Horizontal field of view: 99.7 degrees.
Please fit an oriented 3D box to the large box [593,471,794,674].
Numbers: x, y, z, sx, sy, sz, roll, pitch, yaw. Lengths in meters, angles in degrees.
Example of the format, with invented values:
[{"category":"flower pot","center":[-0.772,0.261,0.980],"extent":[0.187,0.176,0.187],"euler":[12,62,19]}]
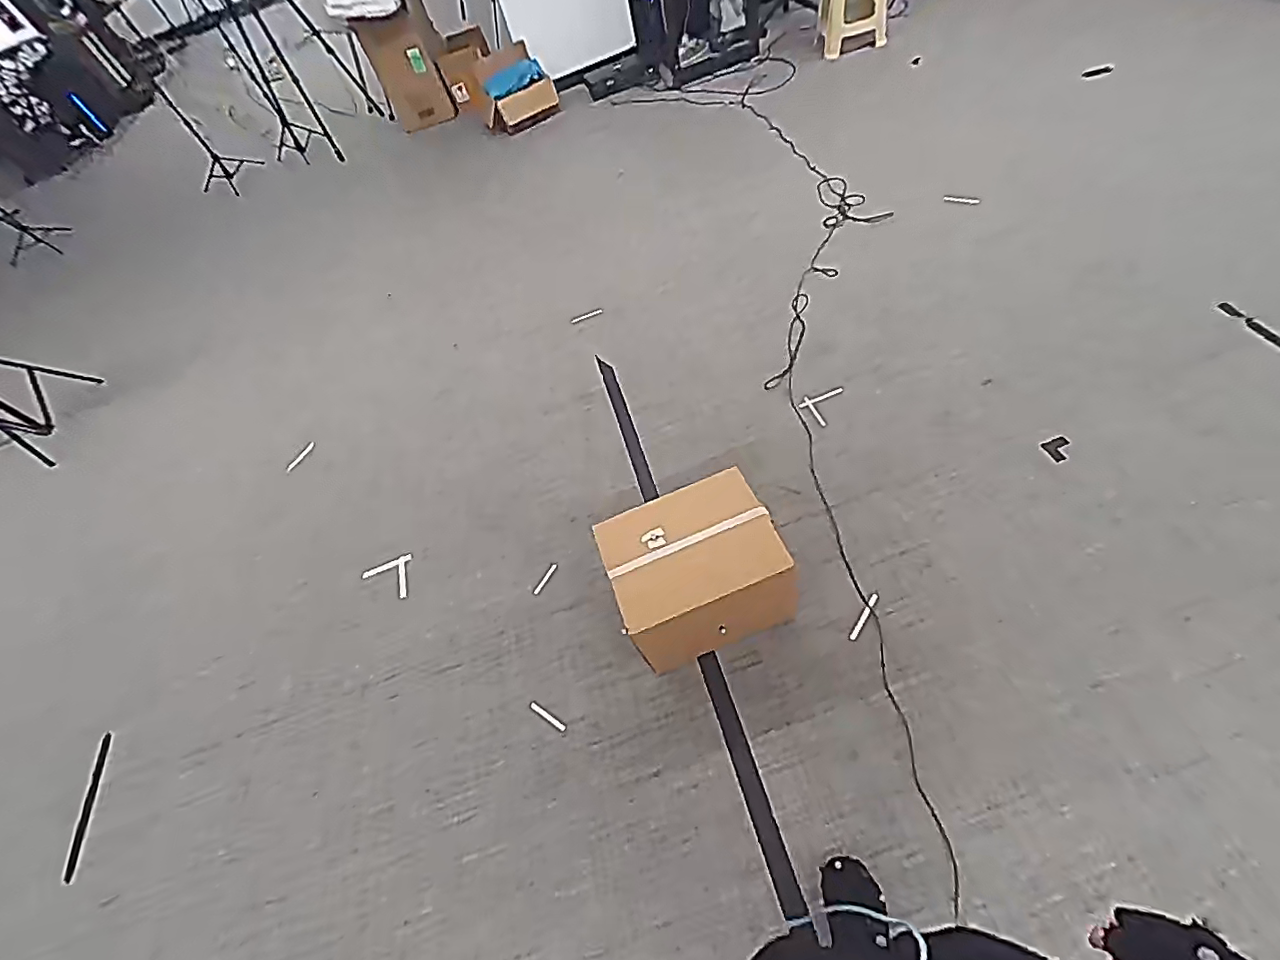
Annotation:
[{"category":"large box","center":[0.144,0.246,1.395],"extent":[0.408,0.320,0.320],"euler":[-23,52,0]}]
